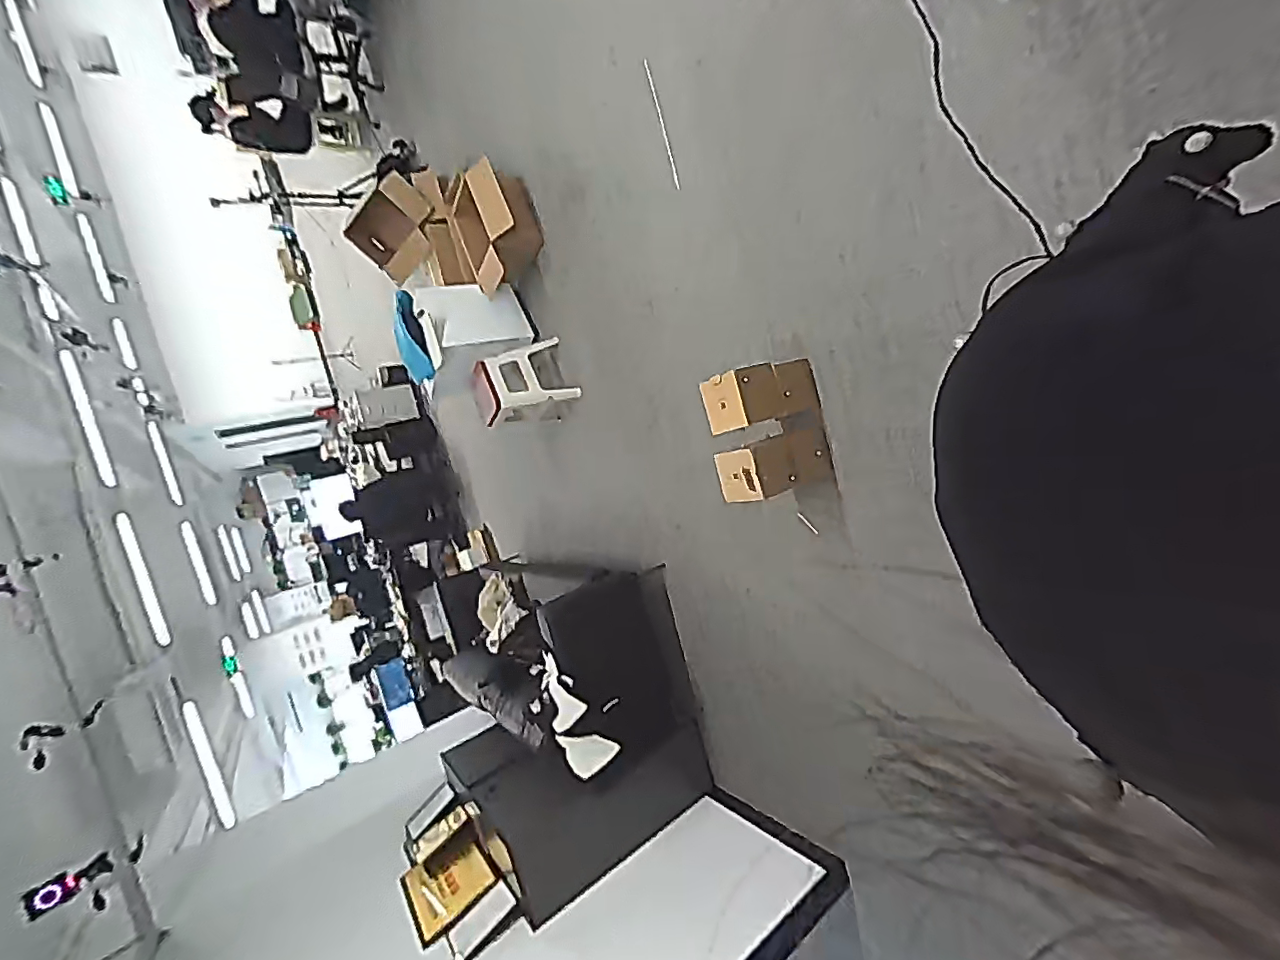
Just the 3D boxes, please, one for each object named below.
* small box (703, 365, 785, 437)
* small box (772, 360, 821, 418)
[{"bbox_3d":[0.333,-0.250,1.710,0.168,0.176,0.179,-12,93,57],"label":"small box"},{"bbox_3d":[0.467,-0.289,1.795,0.179,0.176,0.168,-11,97,58],"label":"small box"}]
